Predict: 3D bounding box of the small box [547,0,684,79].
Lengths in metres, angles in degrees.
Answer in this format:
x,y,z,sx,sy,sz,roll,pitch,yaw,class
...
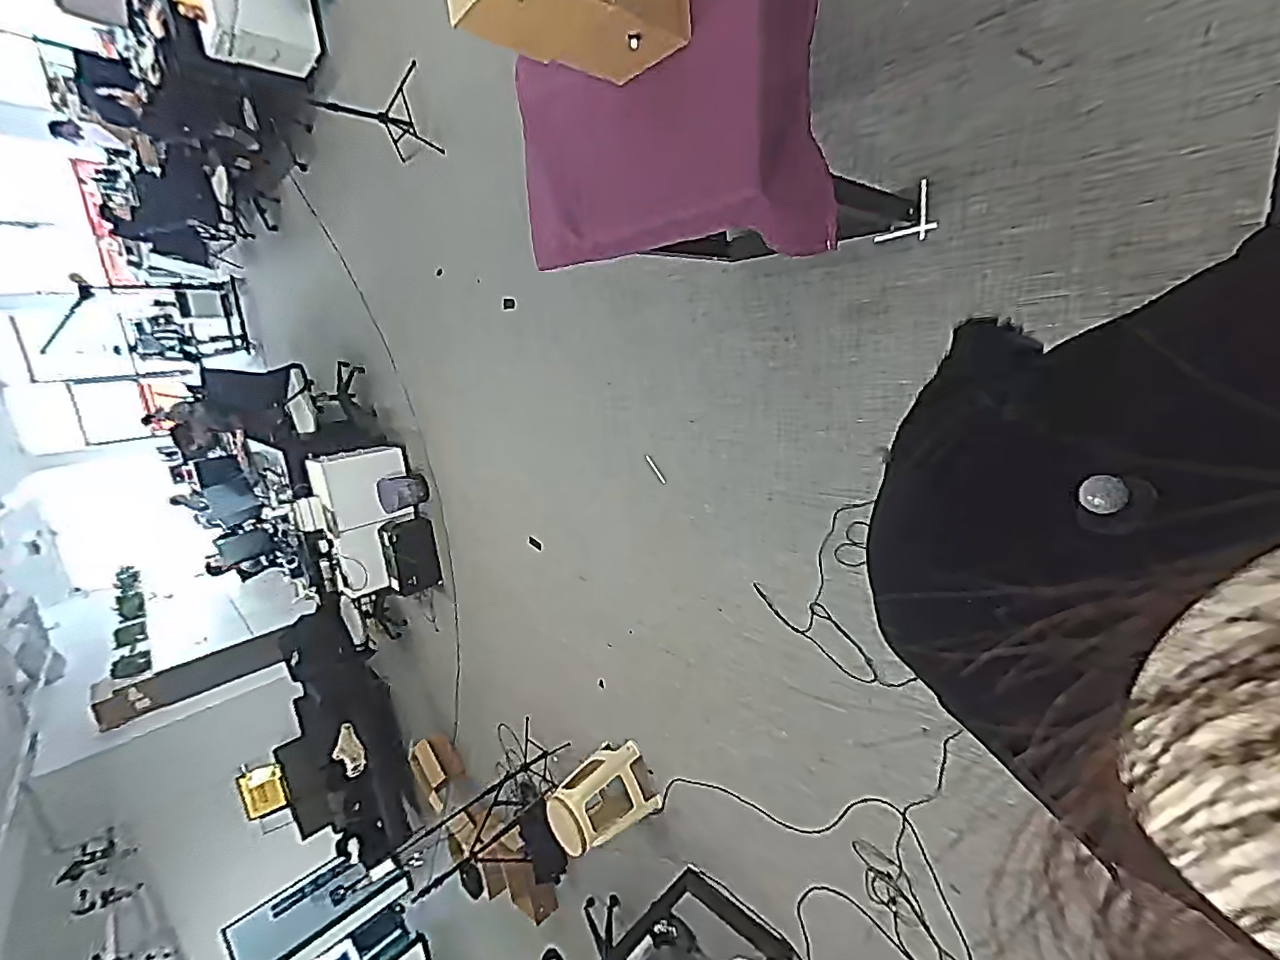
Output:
x,y,z,sx,sy,sz,roll,pitch,yaw,class
-0.042,-0.779,0.857,0.179,0.176,0.168,9,109,46,small box

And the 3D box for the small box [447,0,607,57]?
x,y,z,sx,sy,sz,roll,pitch,yaw,class
-0.162,-0.739,0.755,0.179,0.176,0.168,5,106,45,small box
